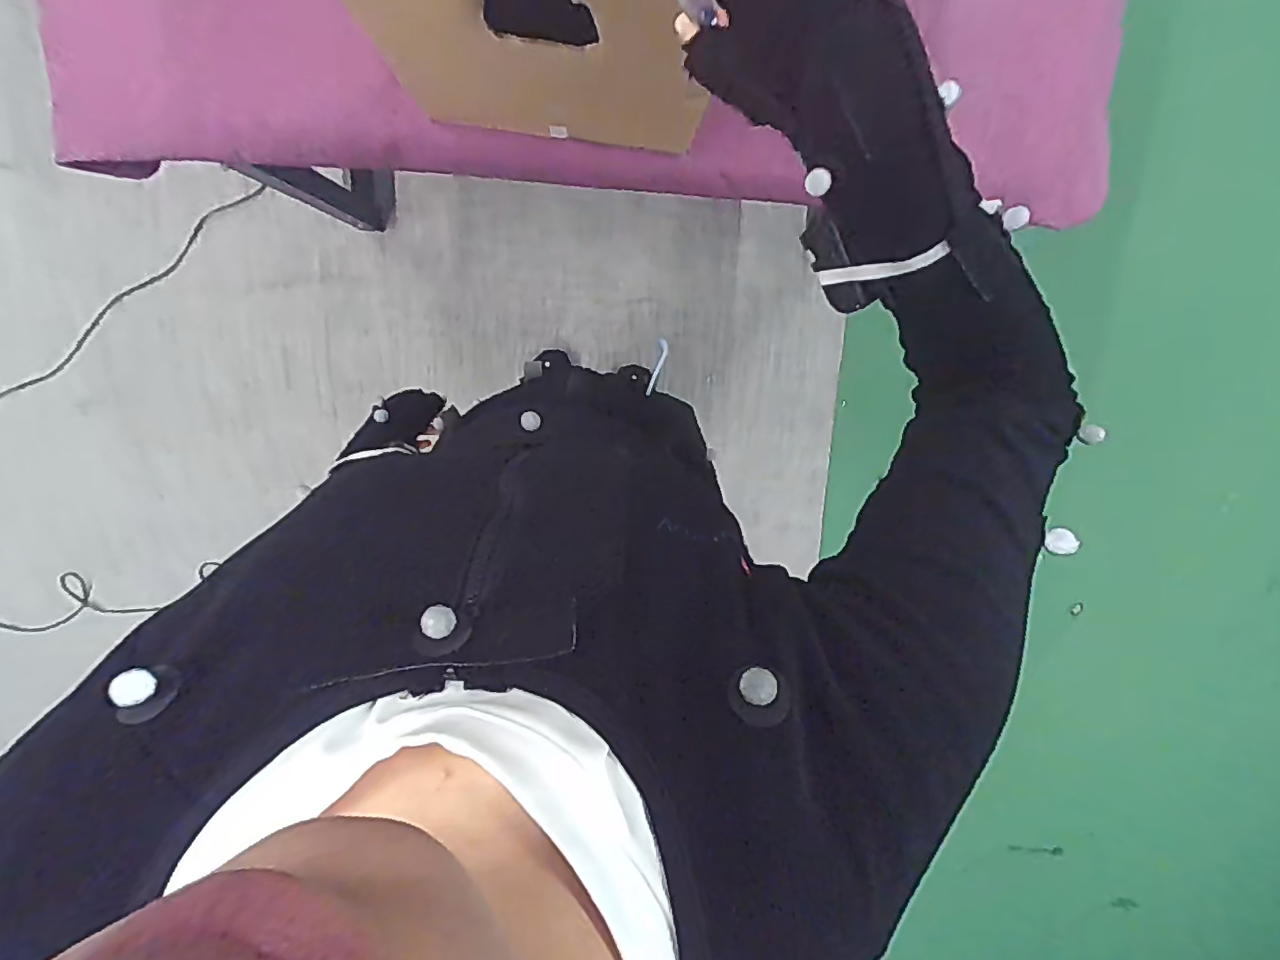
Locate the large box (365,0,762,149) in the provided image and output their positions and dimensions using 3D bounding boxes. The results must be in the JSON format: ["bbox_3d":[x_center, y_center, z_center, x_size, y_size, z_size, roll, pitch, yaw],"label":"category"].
[{"bbox_3d":[-0.060,-0.576,0.467,0.320,0.320,0.408,5,103,-5],"label":"large box"}]
